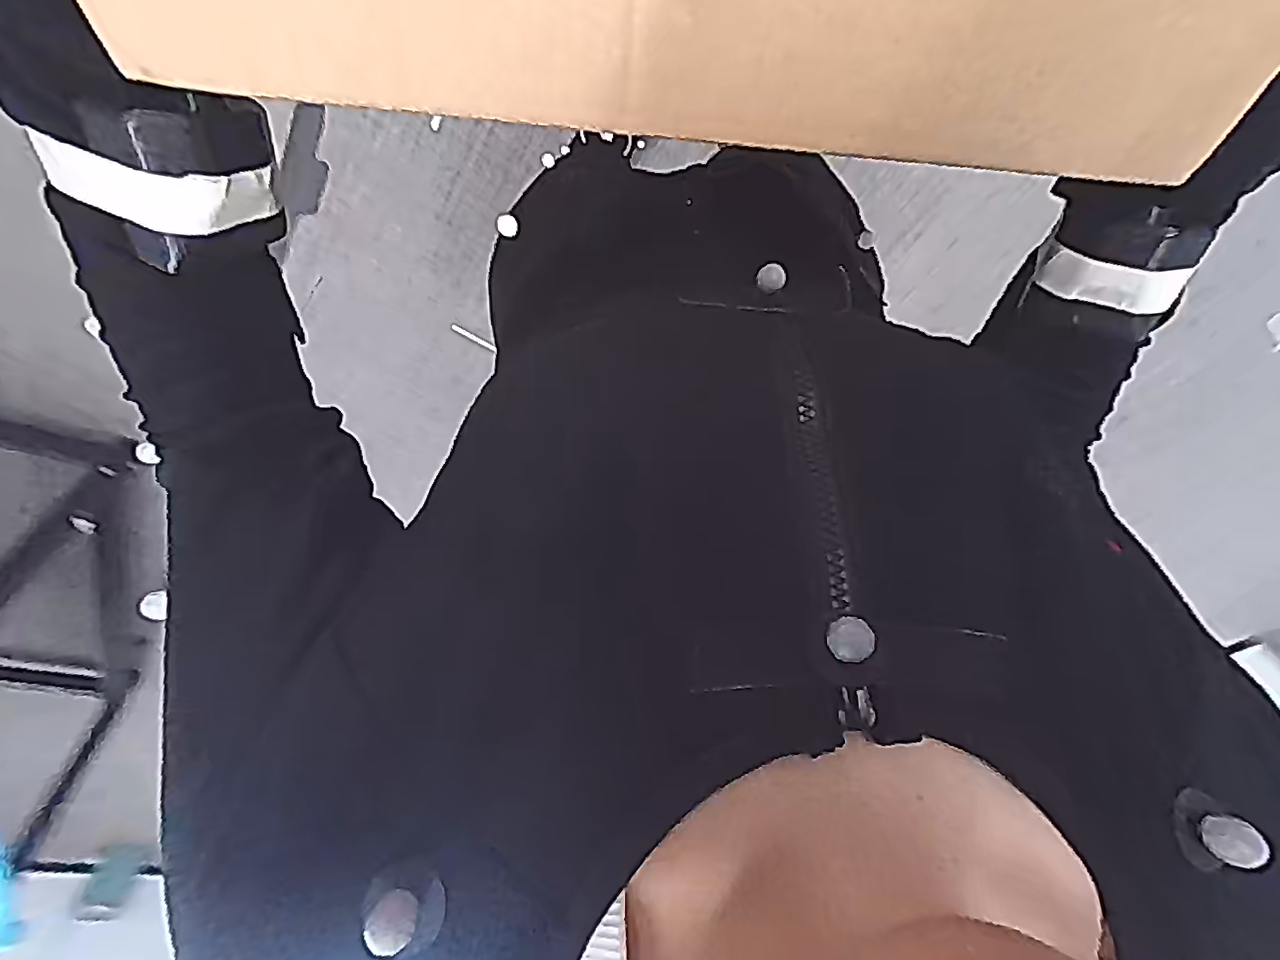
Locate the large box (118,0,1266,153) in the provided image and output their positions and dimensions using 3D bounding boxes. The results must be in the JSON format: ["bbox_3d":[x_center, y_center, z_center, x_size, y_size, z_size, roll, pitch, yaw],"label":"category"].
[{"bbox_3d":[0.029,-0.351,0.187,0.408,0.320,0.320,0,140,-7],"label":"large box"}]
